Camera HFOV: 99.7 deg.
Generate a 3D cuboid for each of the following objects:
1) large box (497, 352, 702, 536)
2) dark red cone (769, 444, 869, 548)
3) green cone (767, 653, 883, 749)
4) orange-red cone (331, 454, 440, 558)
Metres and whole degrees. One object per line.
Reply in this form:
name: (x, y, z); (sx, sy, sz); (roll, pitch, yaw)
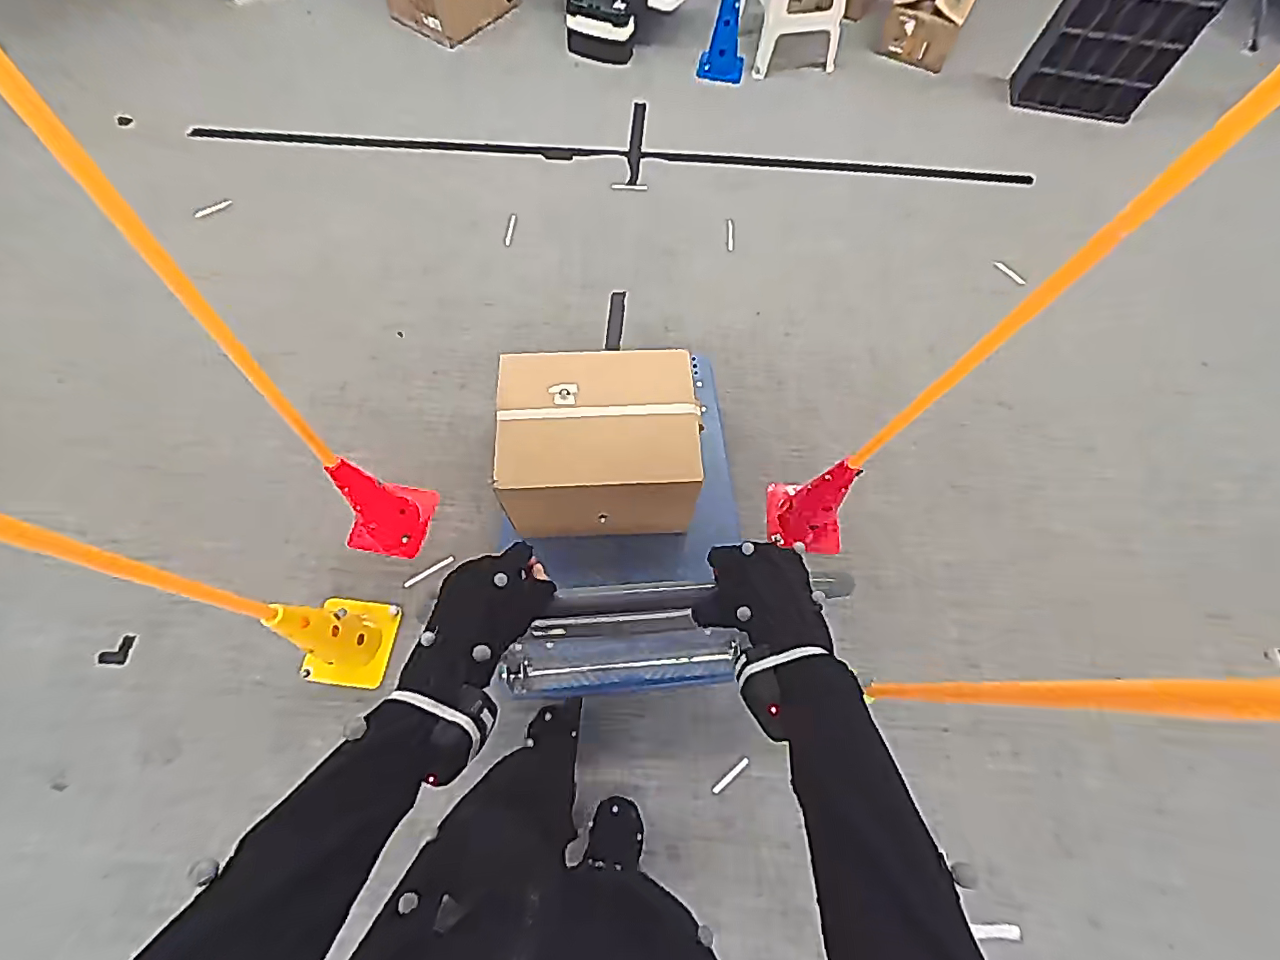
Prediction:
large box: (-0.087, -0.068, 1.238); (0.408, 0.320, 0.320); (-3, 66, -2)
dark red cone: (0.469, 0.021, 1.351); (0.201, 0.394, 0.202); (5, 66, -2)
green cone: (0.418, 0.466, 1.163); (0.202, 0.368, 0.200); (8, 65, 1)
orange-red cone: (-0.665, 0.033, 1.337); (0.198, 0.360, 0.199); (11, 64, 3)
